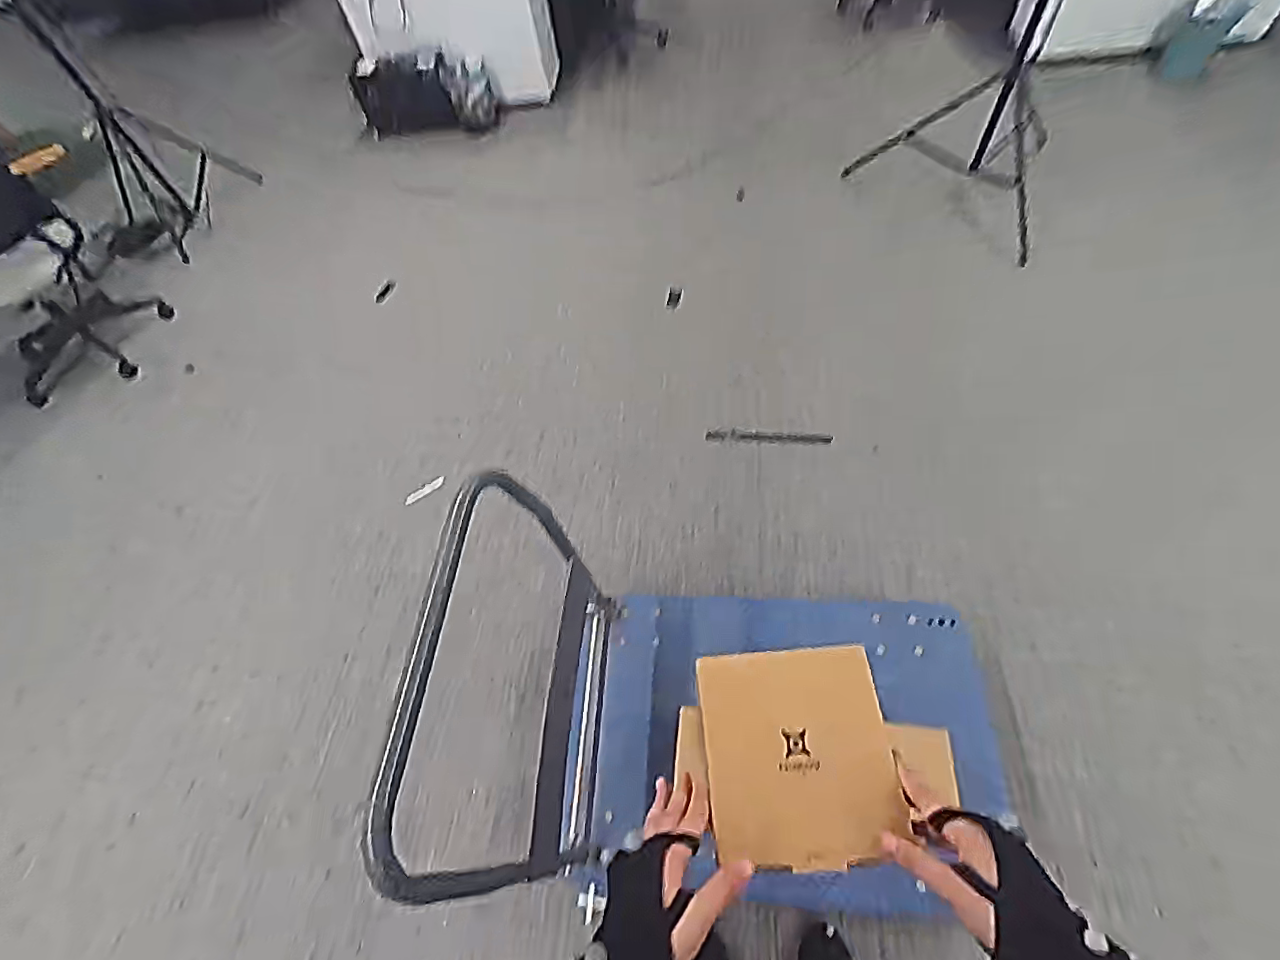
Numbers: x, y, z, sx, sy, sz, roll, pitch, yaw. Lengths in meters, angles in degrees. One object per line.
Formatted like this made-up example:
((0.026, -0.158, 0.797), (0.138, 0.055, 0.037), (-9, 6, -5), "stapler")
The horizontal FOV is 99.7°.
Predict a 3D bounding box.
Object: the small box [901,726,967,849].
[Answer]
((0.464, 0.555, 0.985), (0.168, 0.176, 0.179), (3, 57, 10), "small box")

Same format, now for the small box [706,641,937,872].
((0.157, 0.276, 0.542), (0.168, 0.176, 0.179), (-6, 58, 3), "small box")
